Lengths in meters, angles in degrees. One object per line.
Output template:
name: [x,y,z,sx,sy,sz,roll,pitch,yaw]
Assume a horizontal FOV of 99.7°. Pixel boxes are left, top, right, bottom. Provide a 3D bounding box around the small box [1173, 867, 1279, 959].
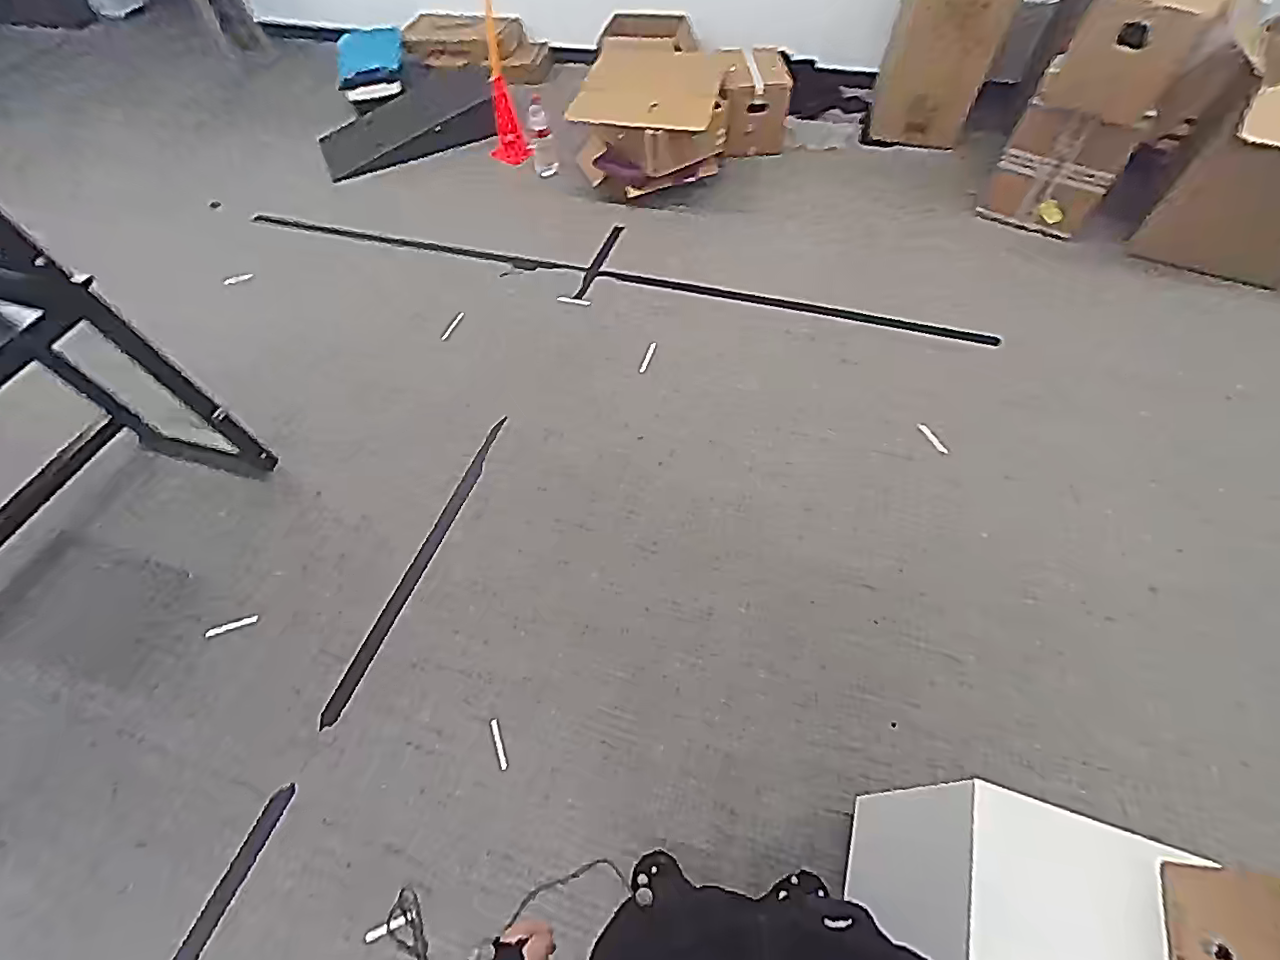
small box: [0.710,0.530,0.562,0.179,0.176,0.168,15,61,14]
